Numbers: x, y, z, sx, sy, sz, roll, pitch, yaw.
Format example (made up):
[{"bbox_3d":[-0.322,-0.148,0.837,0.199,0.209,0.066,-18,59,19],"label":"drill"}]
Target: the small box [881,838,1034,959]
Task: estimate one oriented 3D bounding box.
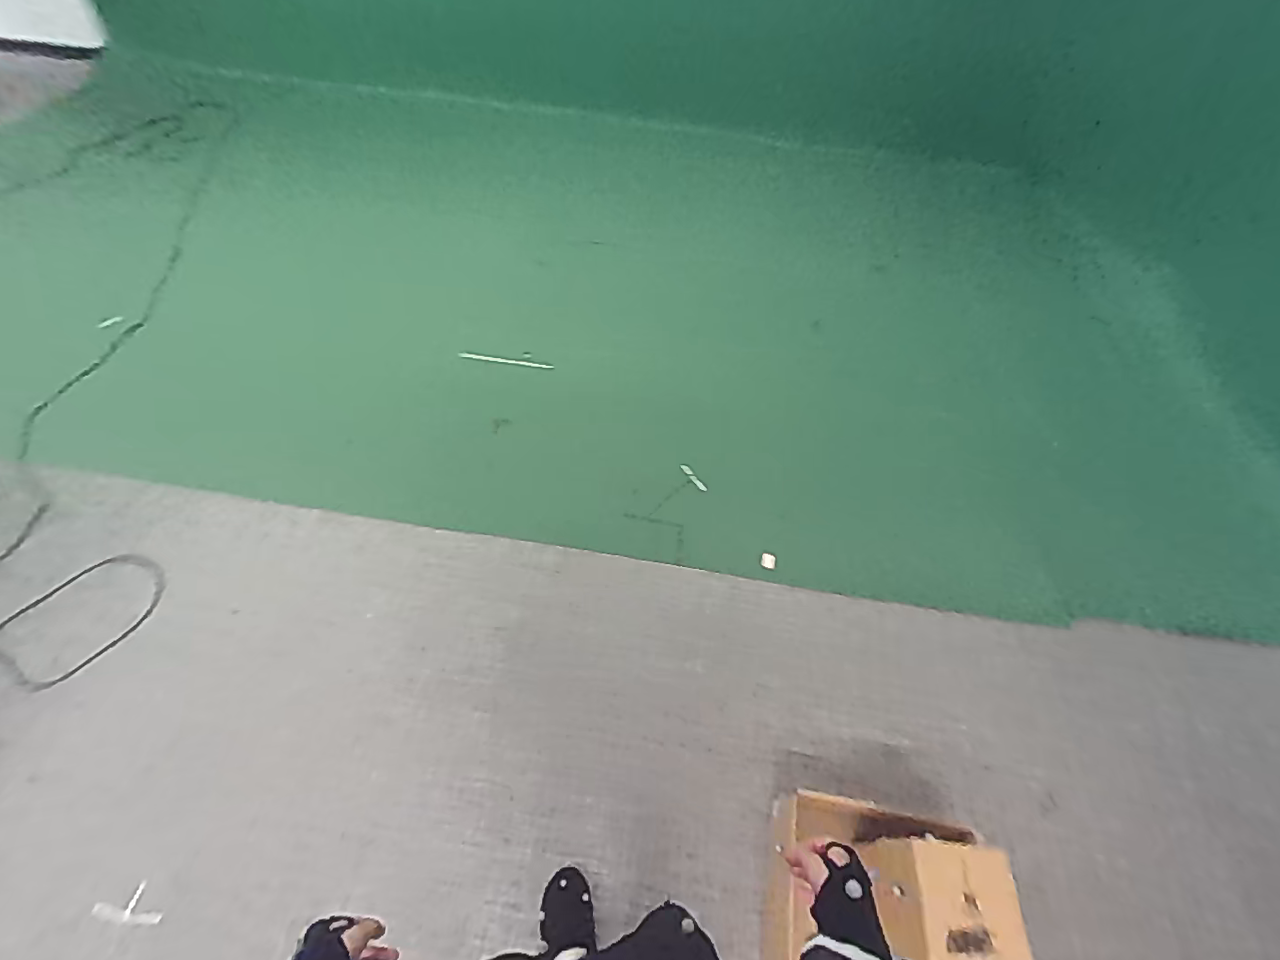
[{"bbox_3d":[0.545,0.747,0.950,0.168,0.176,0.179,6,54,3],"label":"small box"}]
